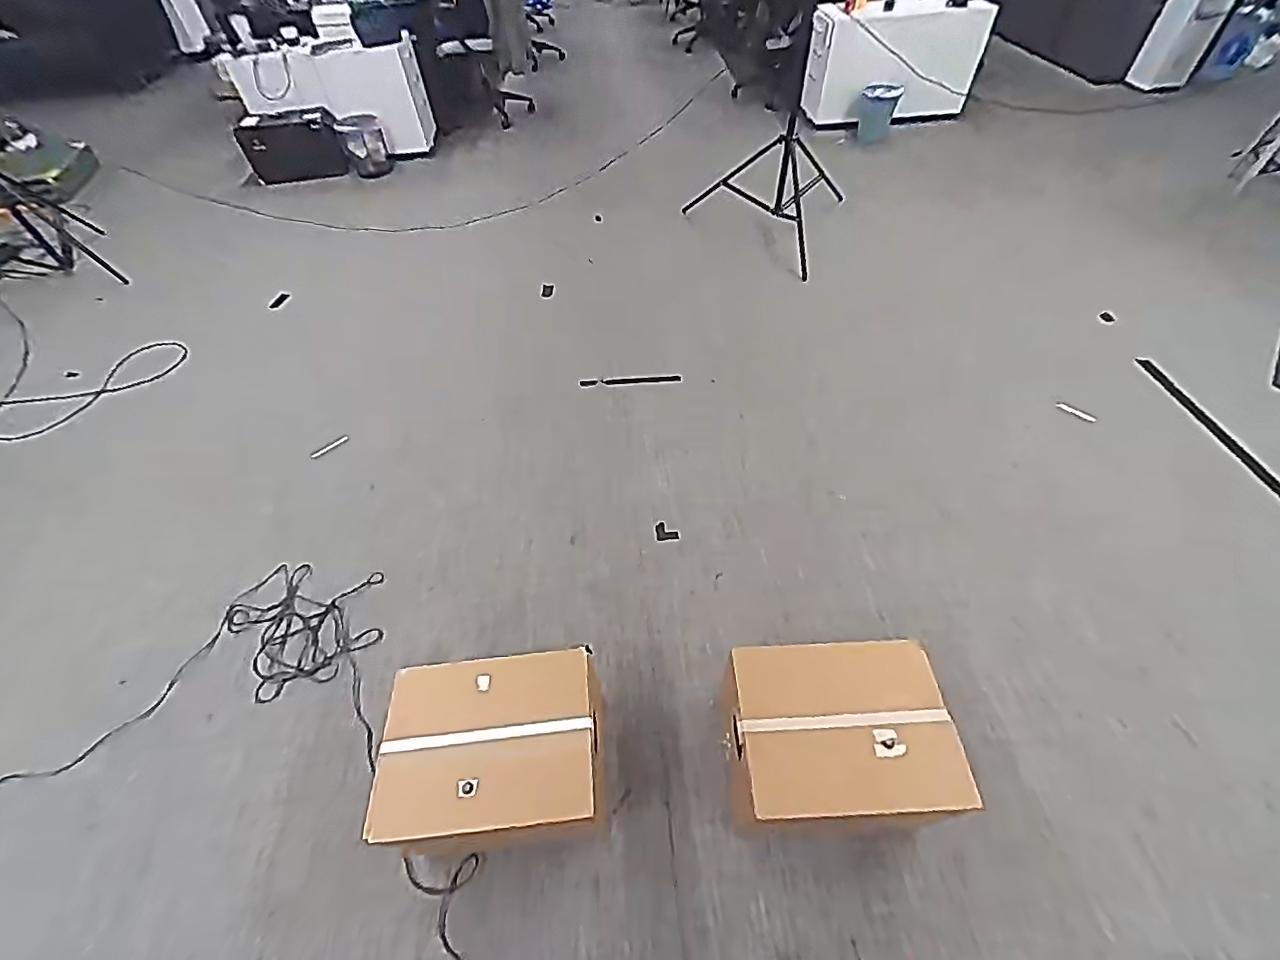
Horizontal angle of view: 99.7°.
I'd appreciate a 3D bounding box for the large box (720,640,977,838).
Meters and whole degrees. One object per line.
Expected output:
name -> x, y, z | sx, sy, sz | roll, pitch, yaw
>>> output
large box -> 0.404, 0.564, 1.172 | 0.408, 0.320, 0.320 | -2, 51, 0
